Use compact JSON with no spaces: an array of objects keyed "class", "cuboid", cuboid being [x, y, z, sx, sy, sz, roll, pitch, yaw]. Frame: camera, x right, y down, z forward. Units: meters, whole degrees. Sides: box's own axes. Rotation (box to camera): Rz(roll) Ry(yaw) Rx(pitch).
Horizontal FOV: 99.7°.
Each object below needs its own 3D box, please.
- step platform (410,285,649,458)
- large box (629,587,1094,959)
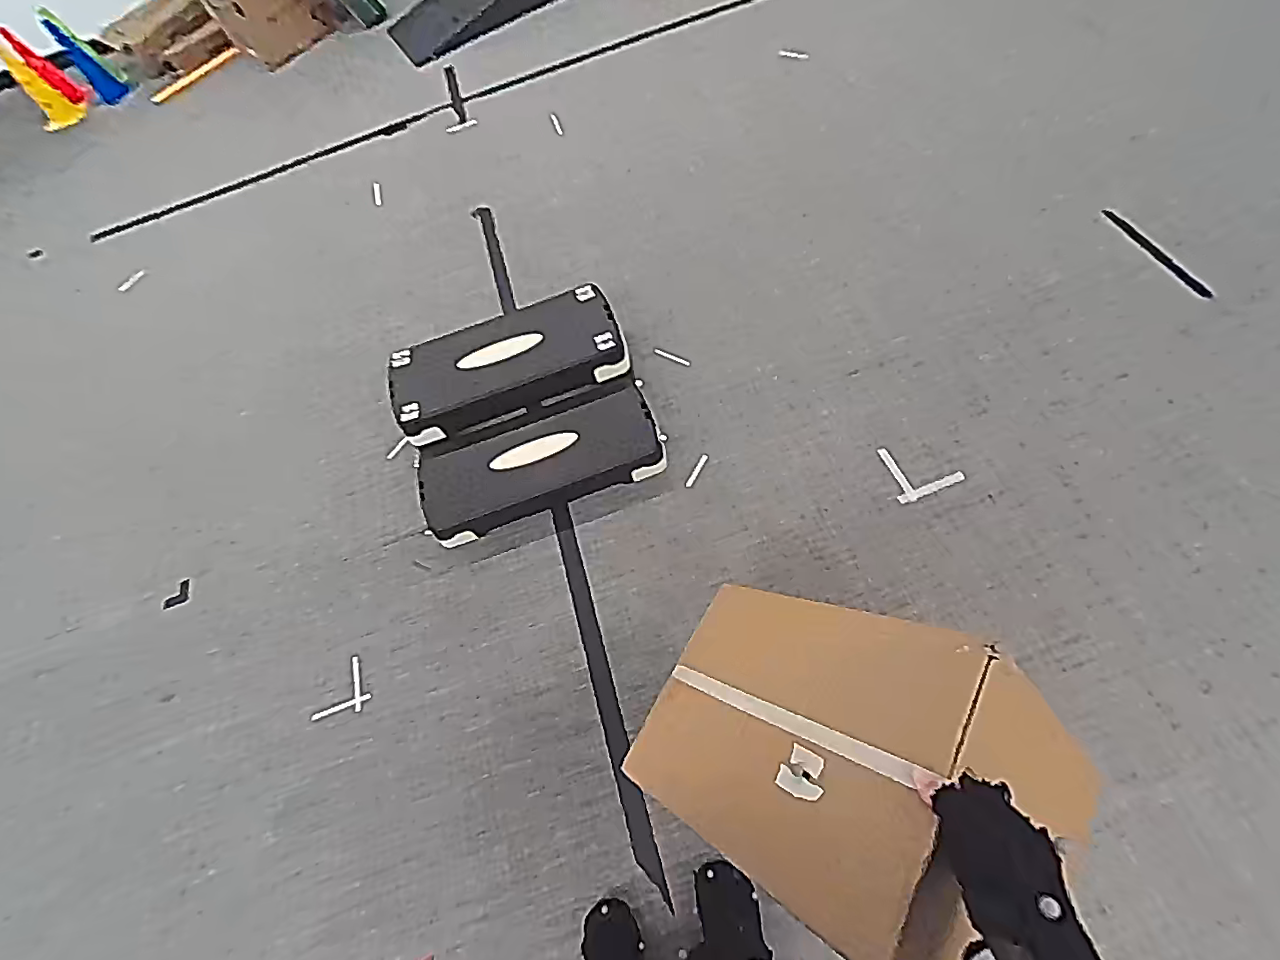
[{"class":"step platform","cuboid":[-0.328,-0.326,1.610,0.684,0.204,0.286,-20,62,-1]},{"class":"large box","cuboid":[0.267,0.372,0.699,0.408,0.320,0.320,-3,50,56]}]
